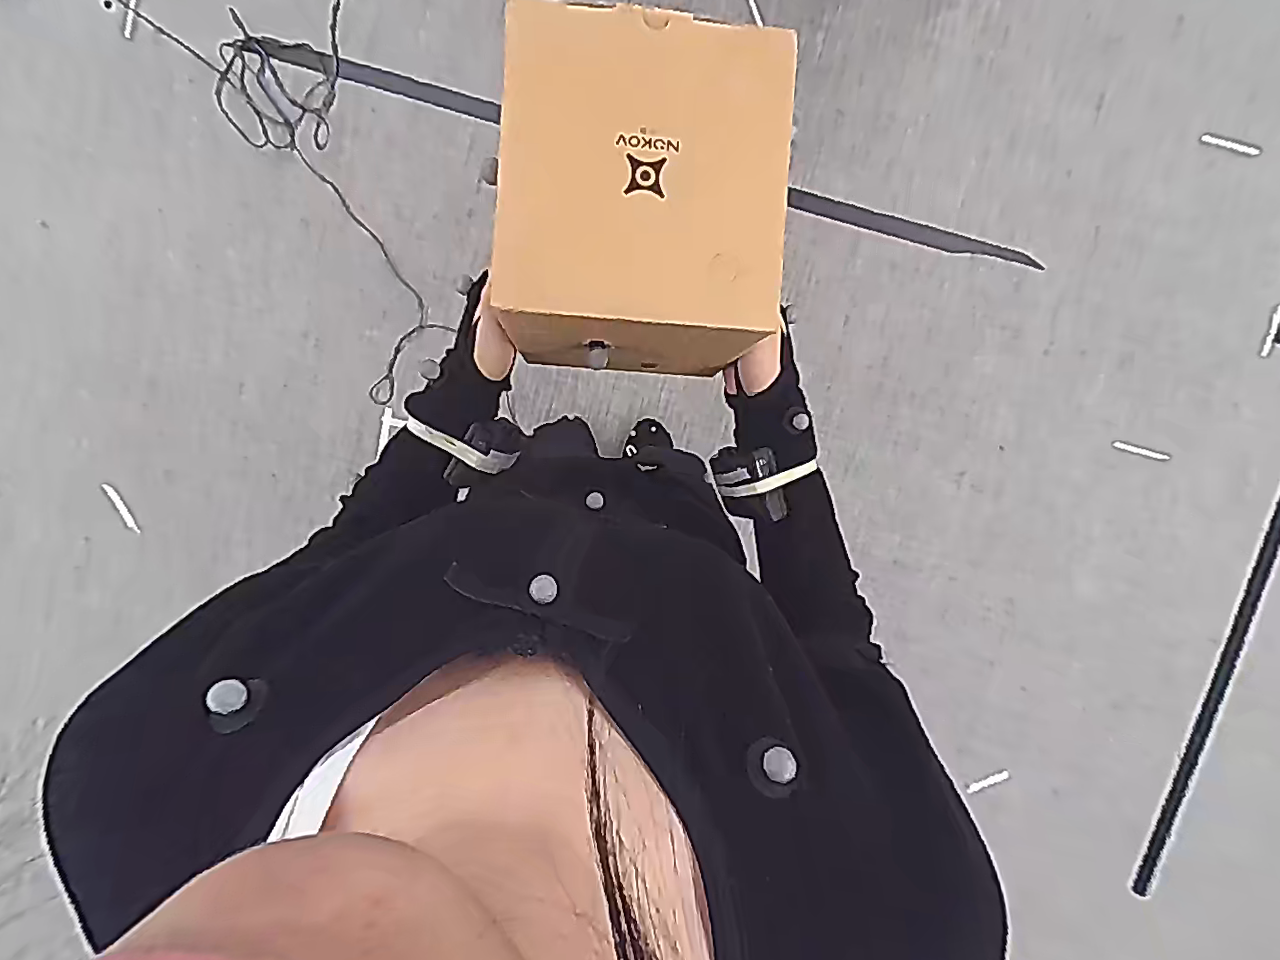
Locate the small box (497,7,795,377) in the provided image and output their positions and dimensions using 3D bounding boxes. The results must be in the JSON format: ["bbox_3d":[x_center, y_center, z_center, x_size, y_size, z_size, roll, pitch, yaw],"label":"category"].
[{"bbox_3d":[-0.001,-0.177,0.391,0.168,0.176,0.179,3,90,-5],"label":"small box"}]

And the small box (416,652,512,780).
[{"bbox_3d":[-0.387,0.501,1.168,0.168,0.176,0.179,12,94,0],"label":"small box"}]
